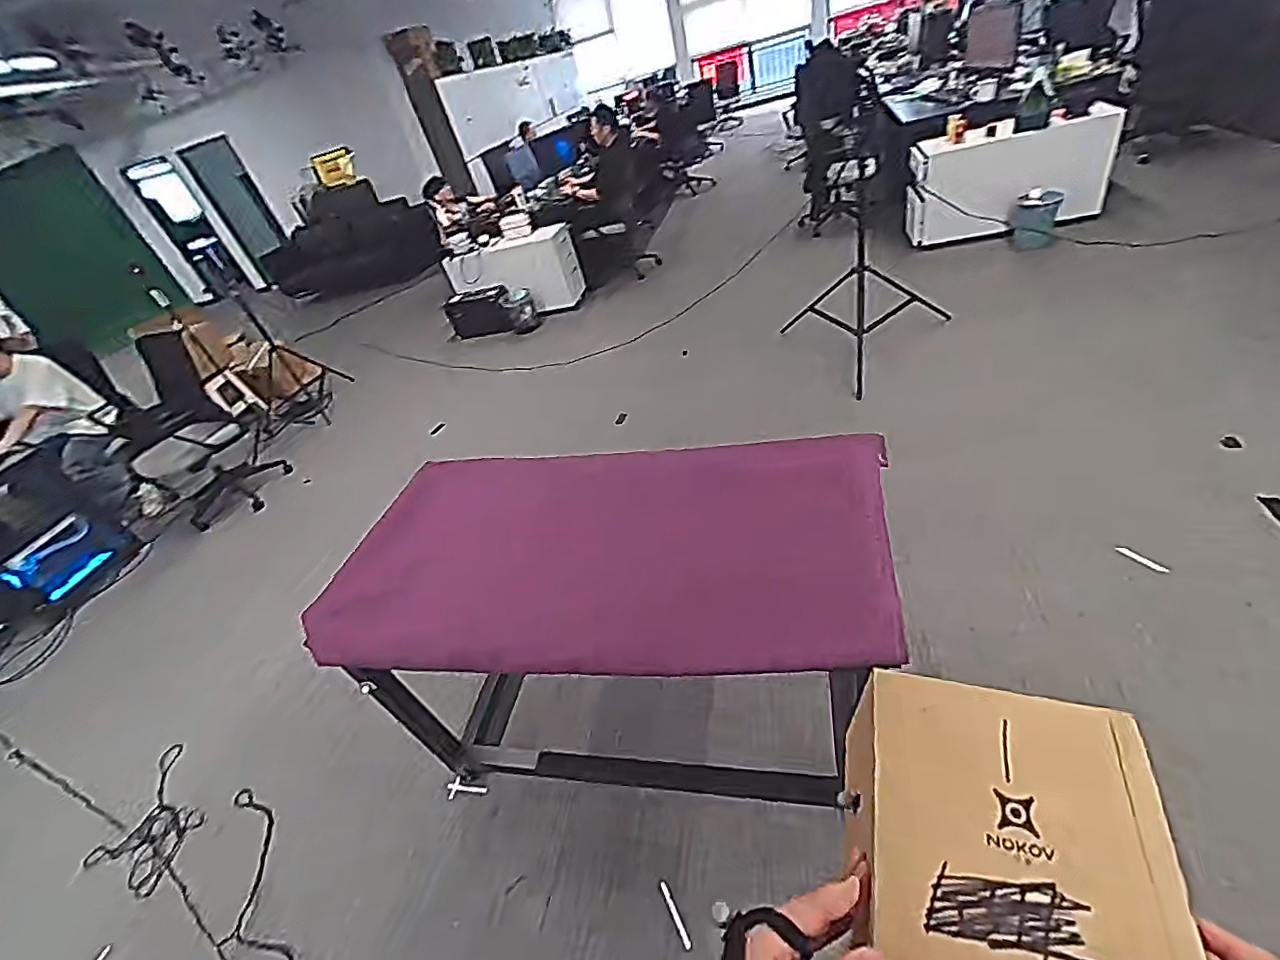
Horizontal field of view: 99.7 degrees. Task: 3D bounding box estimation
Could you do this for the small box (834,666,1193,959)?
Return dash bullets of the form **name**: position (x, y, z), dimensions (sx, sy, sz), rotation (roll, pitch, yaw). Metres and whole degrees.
- **small box**: position (0.238, 0.265, 0.393), dimensions (0.168, 0.176, 0.179), rotation (6, 50, 17)
